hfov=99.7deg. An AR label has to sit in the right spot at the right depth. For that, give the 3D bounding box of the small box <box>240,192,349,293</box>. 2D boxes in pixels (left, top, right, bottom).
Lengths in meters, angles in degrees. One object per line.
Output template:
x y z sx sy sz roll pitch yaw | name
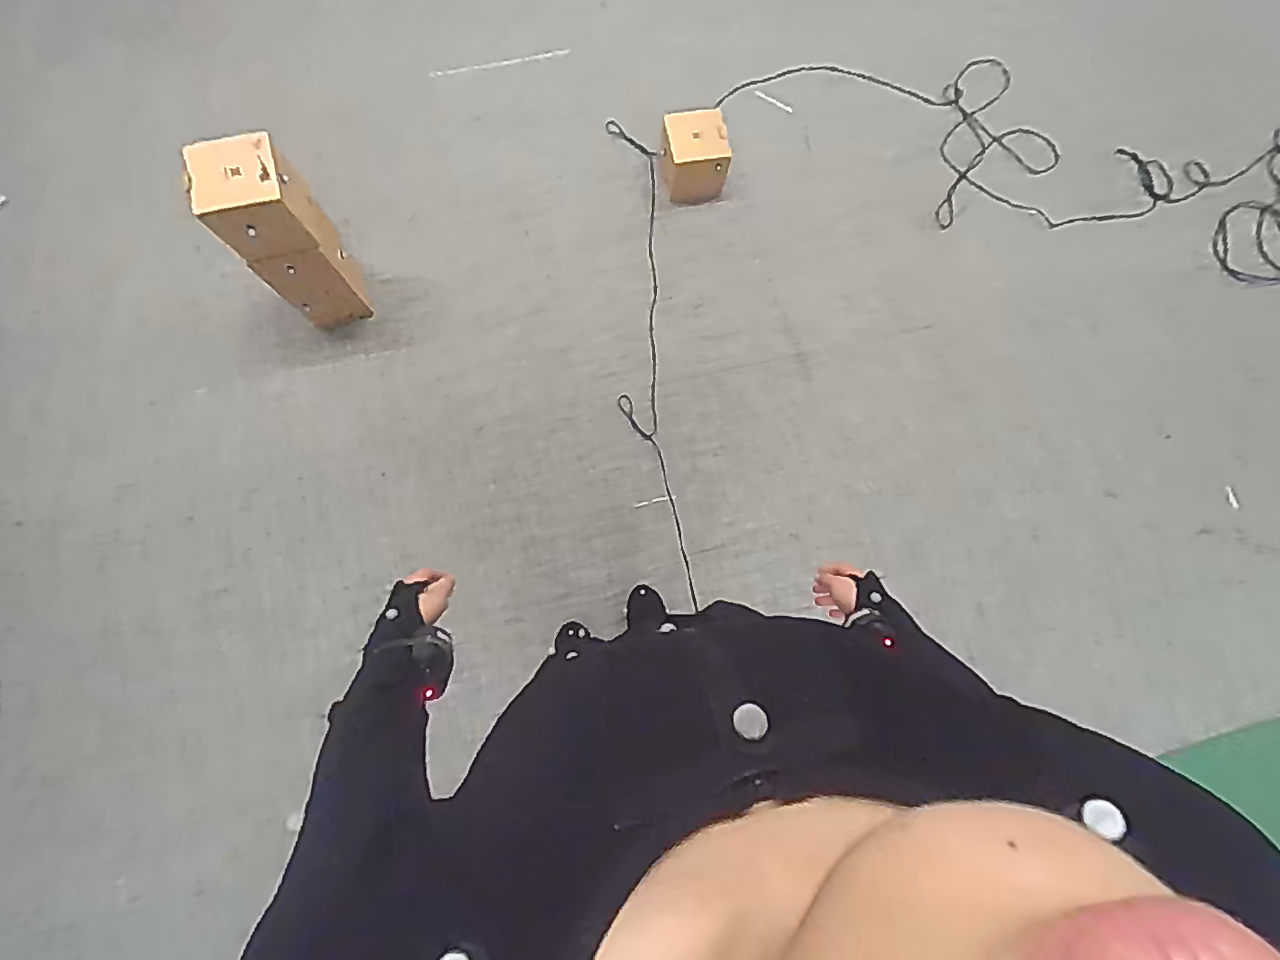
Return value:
-0.863 -0.592 1.351 0.179 0.176 0.168 -14 82 -7 | small box

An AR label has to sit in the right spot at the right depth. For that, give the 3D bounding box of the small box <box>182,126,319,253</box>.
-0.850 -0.630 1.192 0.179 0.176 0.168 -15 81 -5 | small box

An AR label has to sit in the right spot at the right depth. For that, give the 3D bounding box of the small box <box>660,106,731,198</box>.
0.161 -0.986 1.640 0.179 0.176 0.168 -11 81 -6 | small box
